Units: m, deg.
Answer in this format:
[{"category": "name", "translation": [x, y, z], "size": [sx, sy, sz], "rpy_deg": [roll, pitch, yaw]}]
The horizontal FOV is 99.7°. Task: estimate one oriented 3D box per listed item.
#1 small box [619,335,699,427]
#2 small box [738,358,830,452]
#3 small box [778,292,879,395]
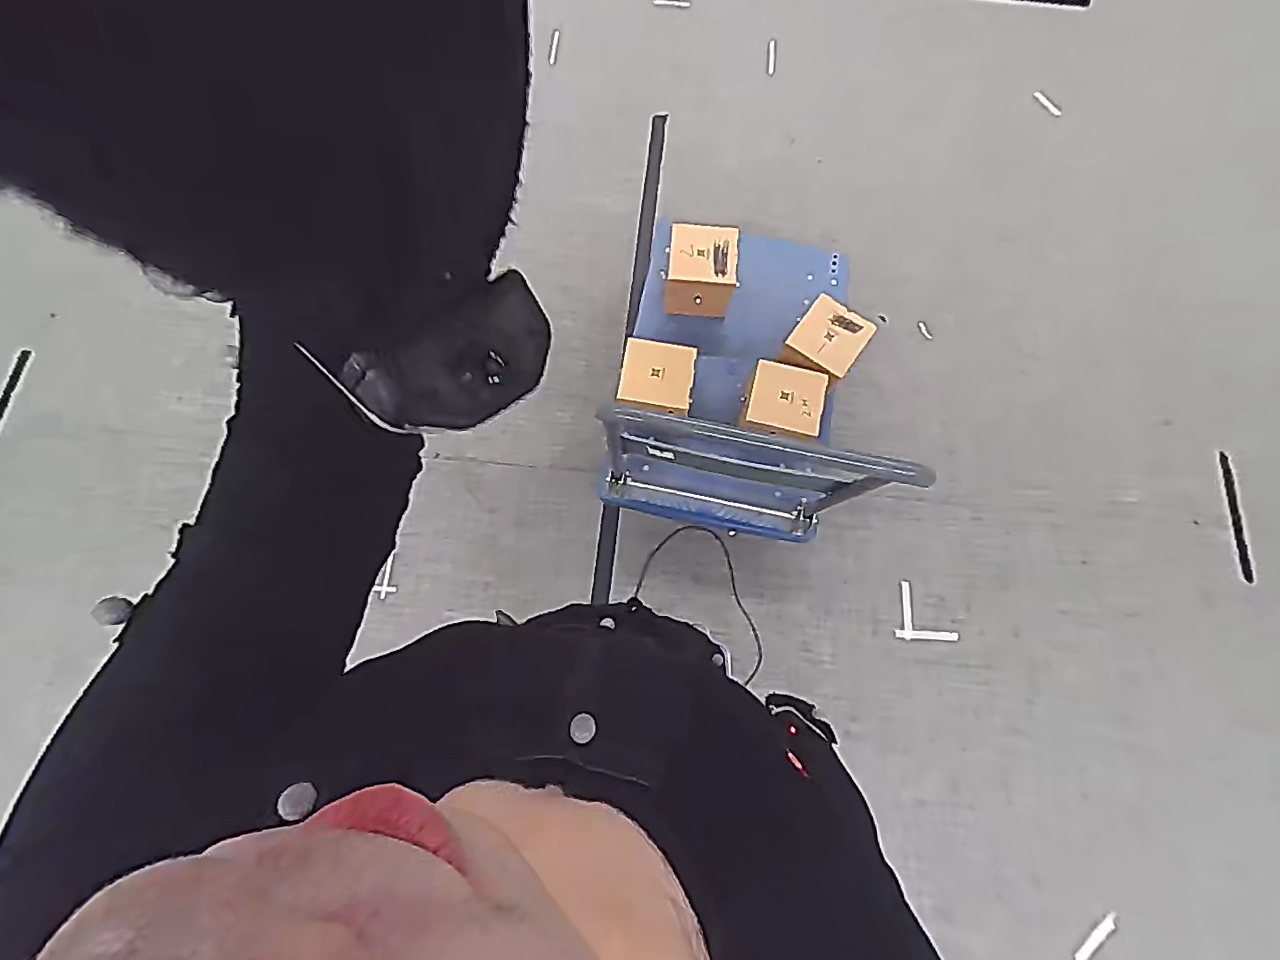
[{"category": "small box", "translation": [0.046, -0.246, 1.384], "size": [0.179, 0.176, 0.168], "rpy_deg": [10, 77, 1]}, {"category": "small box", "translation": [0.356, -0.183, 1.370], "size": [0.179, 0.176, 0.168], "rpy_deg": [15, 77, 4]}, {"category": "small box", "translation": [0.477, -0.344, 1.409], "size": [0.168, 0.176, 0.179], "rpy_deg": [36, 79, 8]}]
